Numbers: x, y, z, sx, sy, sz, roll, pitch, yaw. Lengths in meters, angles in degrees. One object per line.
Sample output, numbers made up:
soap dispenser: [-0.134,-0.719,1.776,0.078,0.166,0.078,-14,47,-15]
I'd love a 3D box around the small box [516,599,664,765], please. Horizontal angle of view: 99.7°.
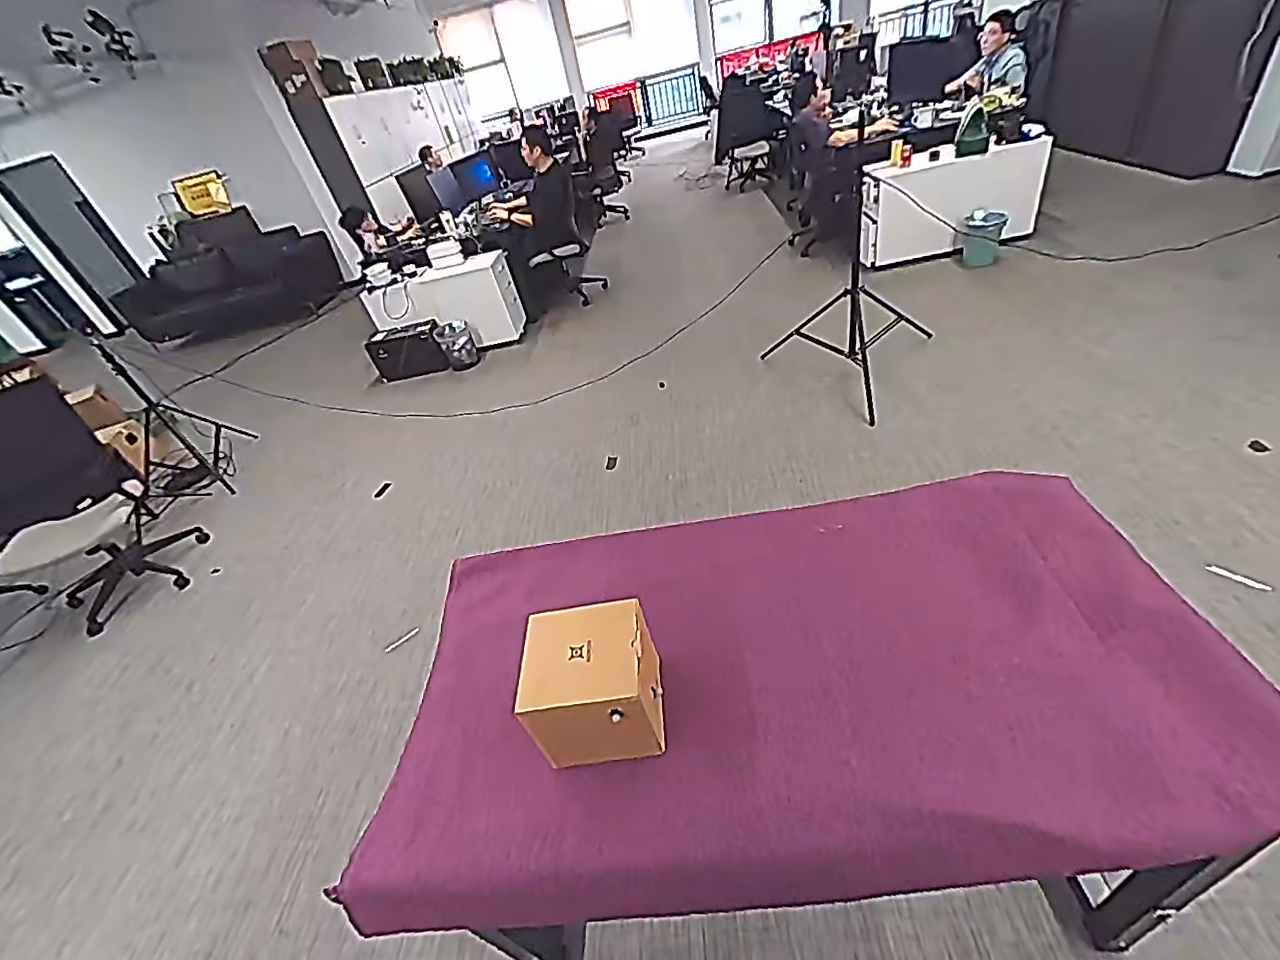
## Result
small box: [-0.068,0.311,0.826,0.179,0.176,0.168,-10,37,5]
